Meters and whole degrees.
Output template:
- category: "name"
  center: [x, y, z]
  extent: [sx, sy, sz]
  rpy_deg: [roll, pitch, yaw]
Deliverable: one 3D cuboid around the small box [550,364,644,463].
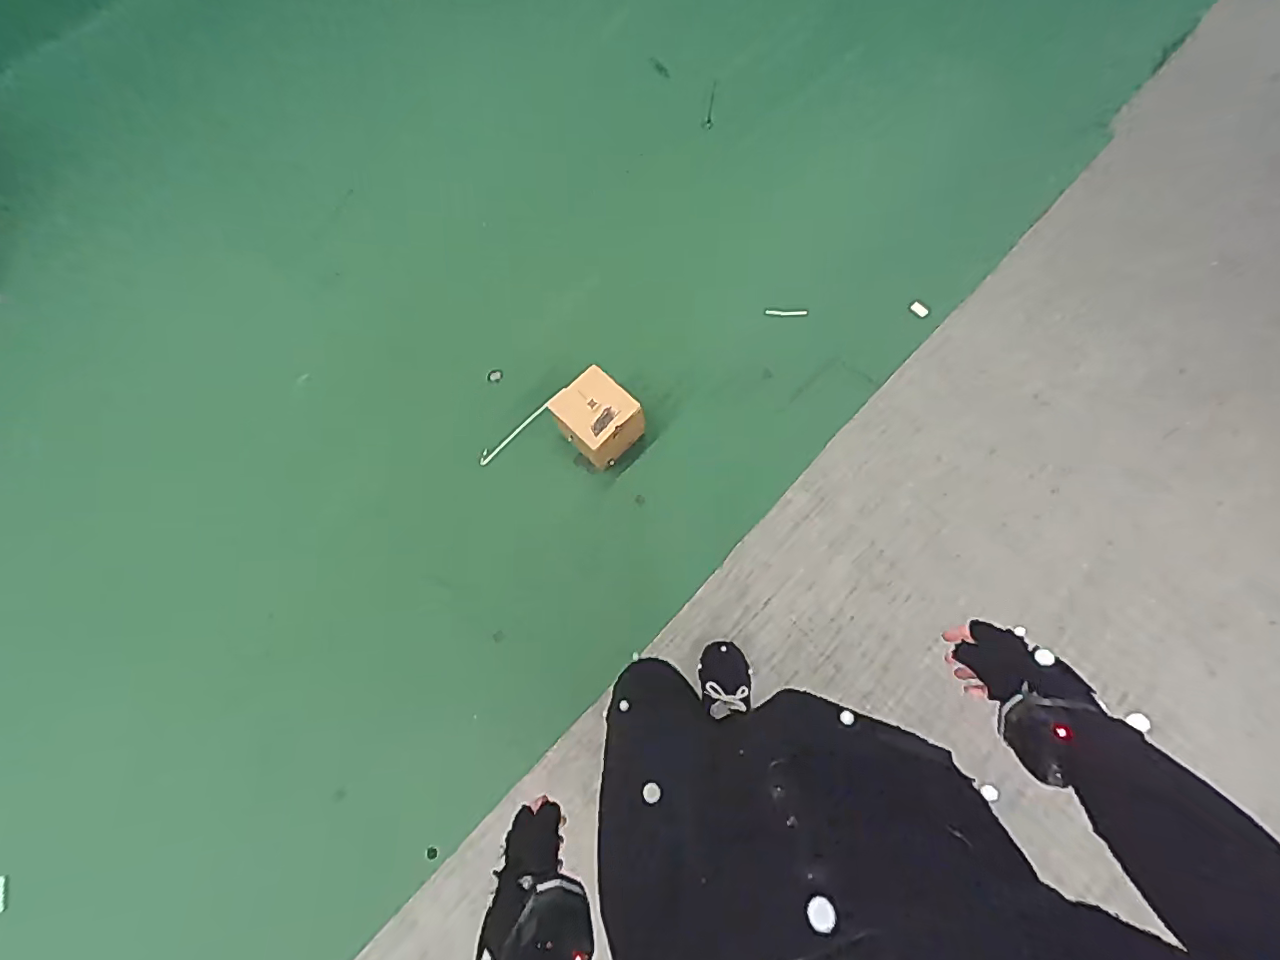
- category: "small box"
  center: [-0.103, -0.163, 1.414]
  extent: [0.168, 0.176, 0.179]
  rpy_deg: [-44, 75, -10]
